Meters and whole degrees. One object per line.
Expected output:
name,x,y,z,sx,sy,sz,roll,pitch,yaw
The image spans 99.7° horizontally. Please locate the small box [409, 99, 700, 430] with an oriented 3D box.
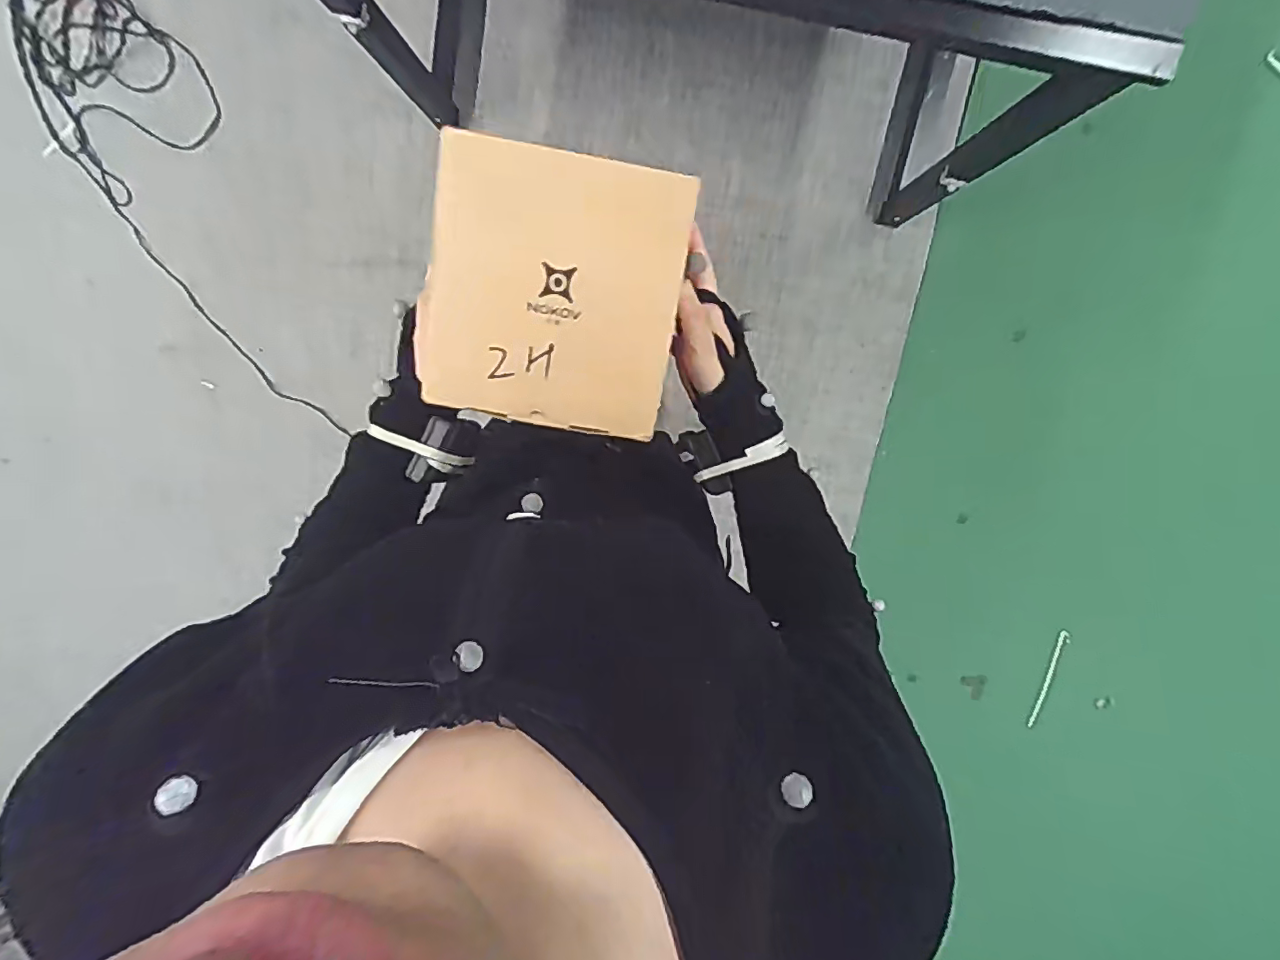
small box,-0.059,-0.149,0.422,0.168,0.176,0.179,10,103,-3
